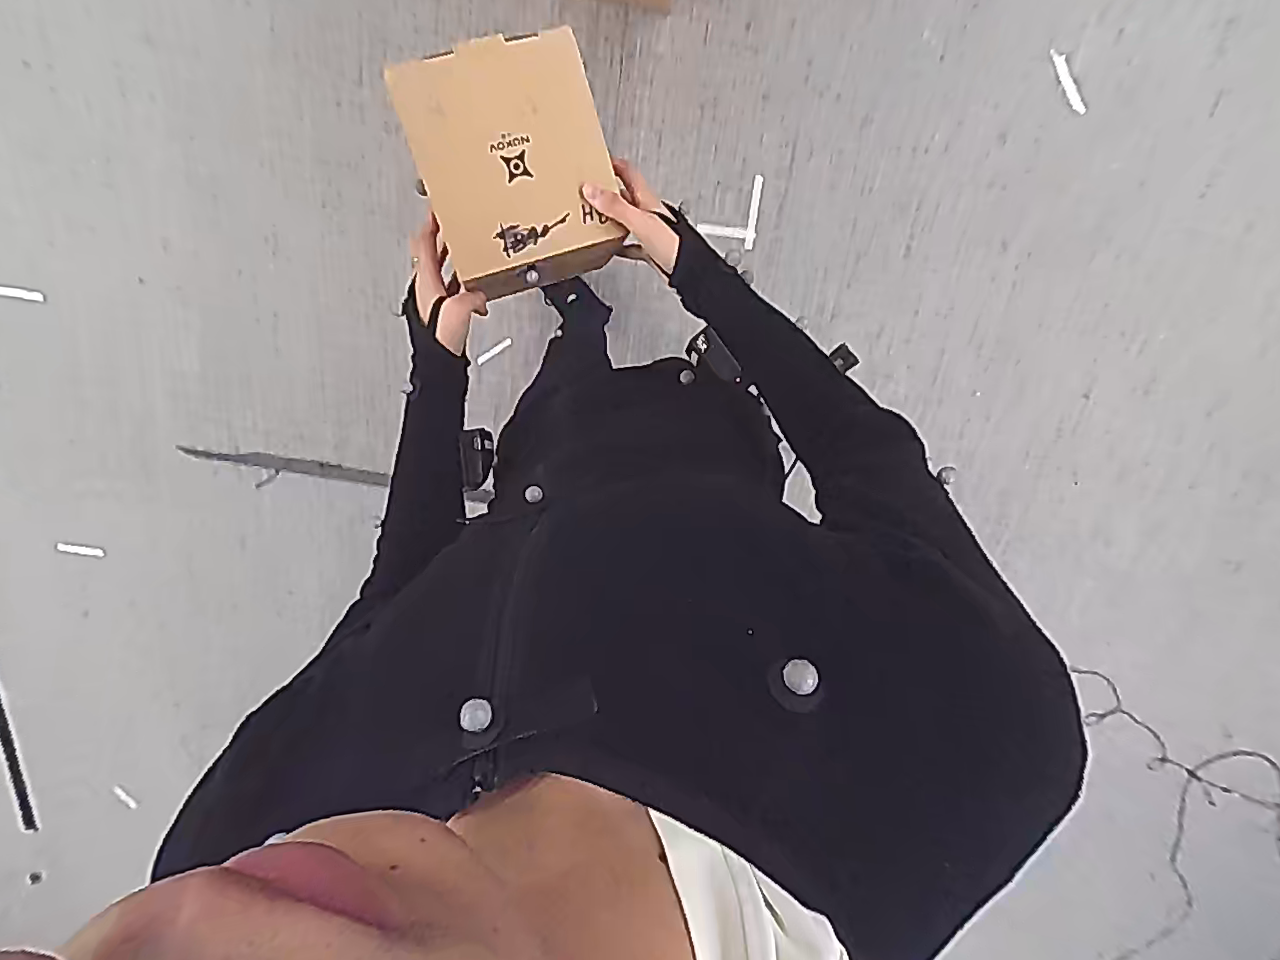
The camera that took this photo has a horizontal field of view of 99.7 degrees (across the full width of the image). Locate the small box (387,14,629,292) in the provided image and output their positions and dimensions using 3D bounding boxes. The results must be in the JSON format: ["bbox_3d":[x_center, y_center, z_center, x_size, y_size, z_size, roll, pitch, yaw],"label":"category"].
[{"bbox_3d":[-0.125,-0.307,0.545,0.168,0.176,0.179,-18,104,-8],"label":"small box"}]
